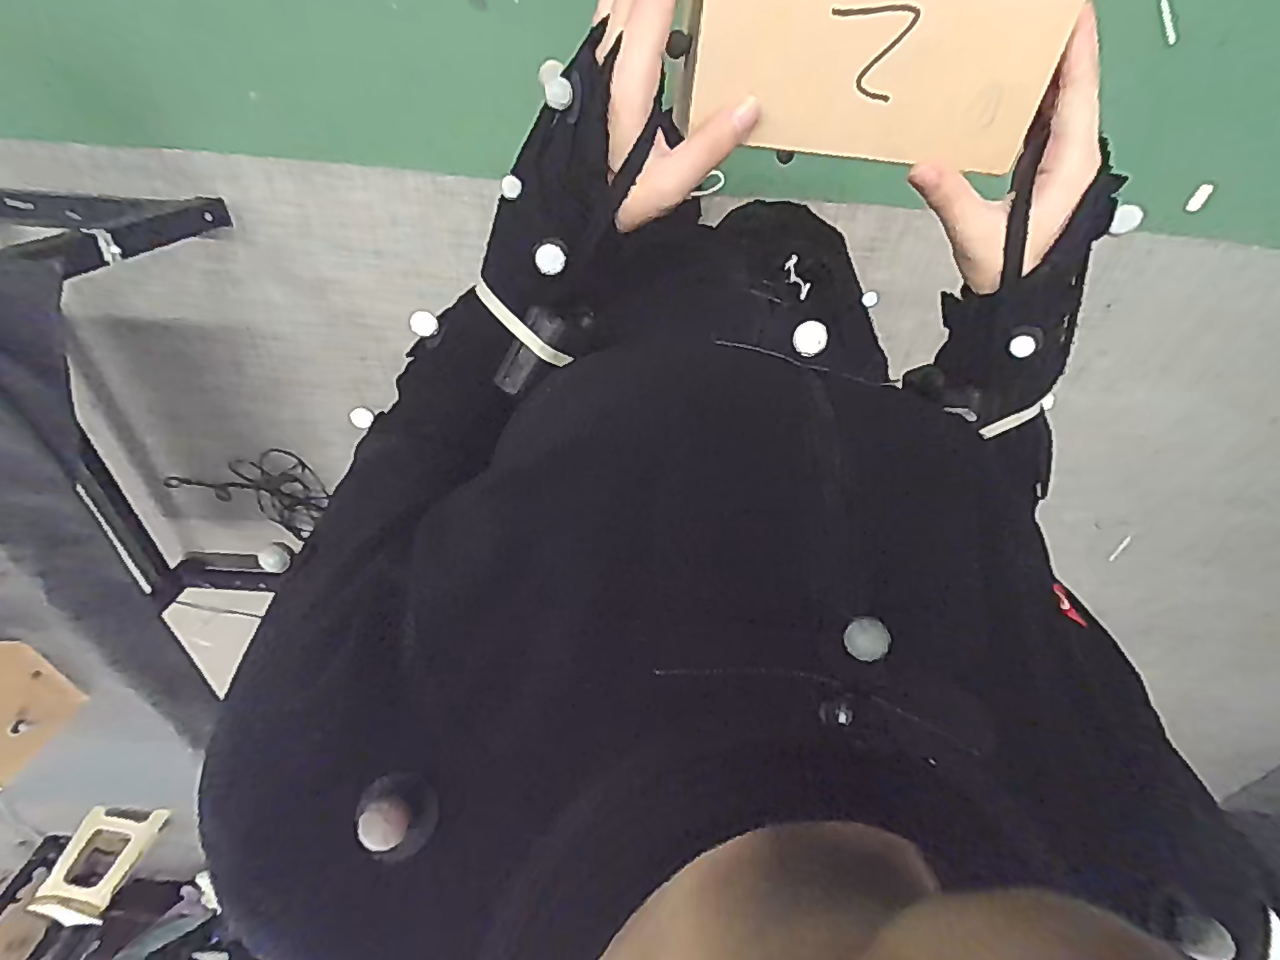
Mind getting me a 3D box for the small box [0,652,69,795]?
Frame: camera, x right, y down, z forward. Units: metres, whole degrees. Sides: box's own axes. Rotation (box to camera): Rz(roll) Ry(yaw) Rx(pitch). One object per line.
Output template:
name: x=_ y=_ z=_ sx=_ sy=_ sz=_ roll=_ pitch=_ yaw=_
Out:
small box: x=-1.090 y=0.387 z=0.862 sx=0.179 sy=0.176 sz=0.168 roll=-1 pitch=127 yaw=2
